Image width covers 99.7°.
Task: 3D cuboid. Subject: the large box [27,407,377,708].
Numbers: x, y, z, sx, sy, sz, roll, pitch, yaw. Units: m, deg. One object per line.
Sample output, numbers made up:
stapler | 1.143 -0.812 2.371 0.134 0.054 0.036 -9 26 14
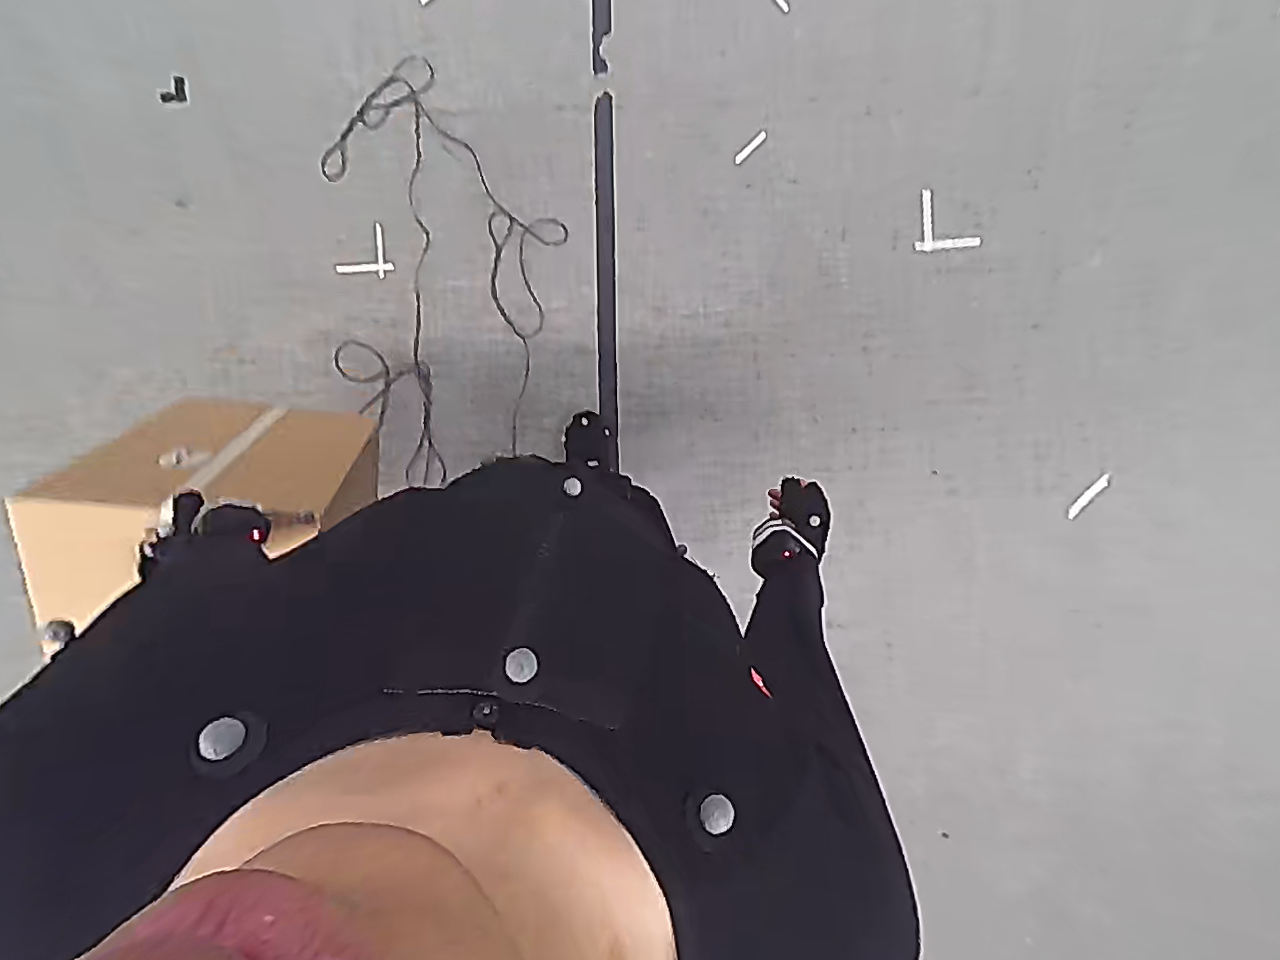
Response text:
large box | -0.630 0.101 0.886 0.320 0.408 0.320 3 114 -16
